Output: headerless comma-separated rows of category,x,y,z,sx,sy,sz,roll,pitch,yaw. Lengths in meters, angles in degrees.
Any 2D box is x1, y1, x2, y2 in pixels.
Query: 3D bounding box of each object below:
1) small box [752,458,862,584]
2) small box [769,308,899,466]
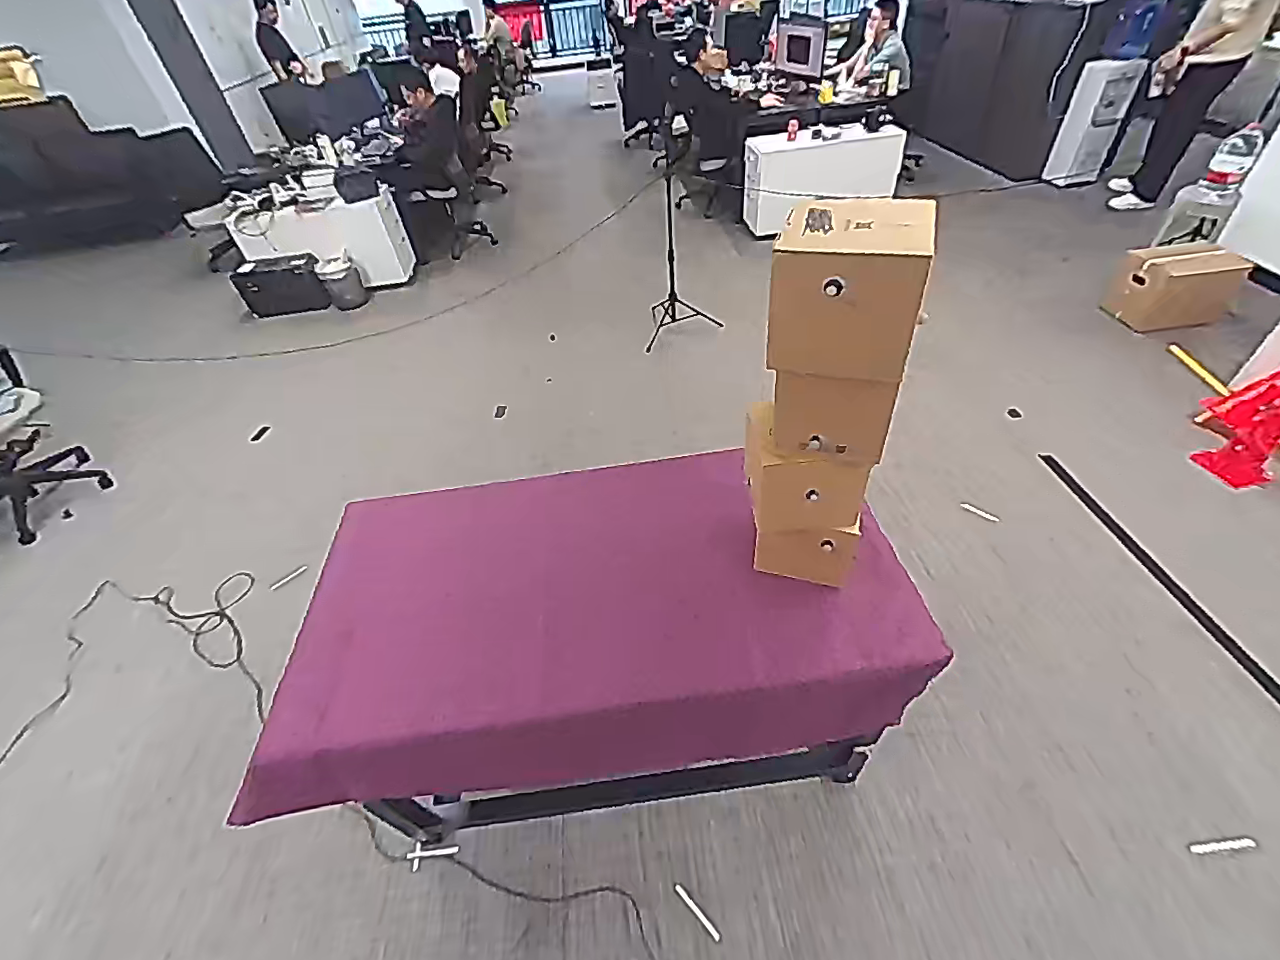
small box,0.328,0.083,1.073,0.179,0.176,0.168,11,47,18
small box,0.295,-0.146,0.841,0.168,0.176,0.179,6,47,16
